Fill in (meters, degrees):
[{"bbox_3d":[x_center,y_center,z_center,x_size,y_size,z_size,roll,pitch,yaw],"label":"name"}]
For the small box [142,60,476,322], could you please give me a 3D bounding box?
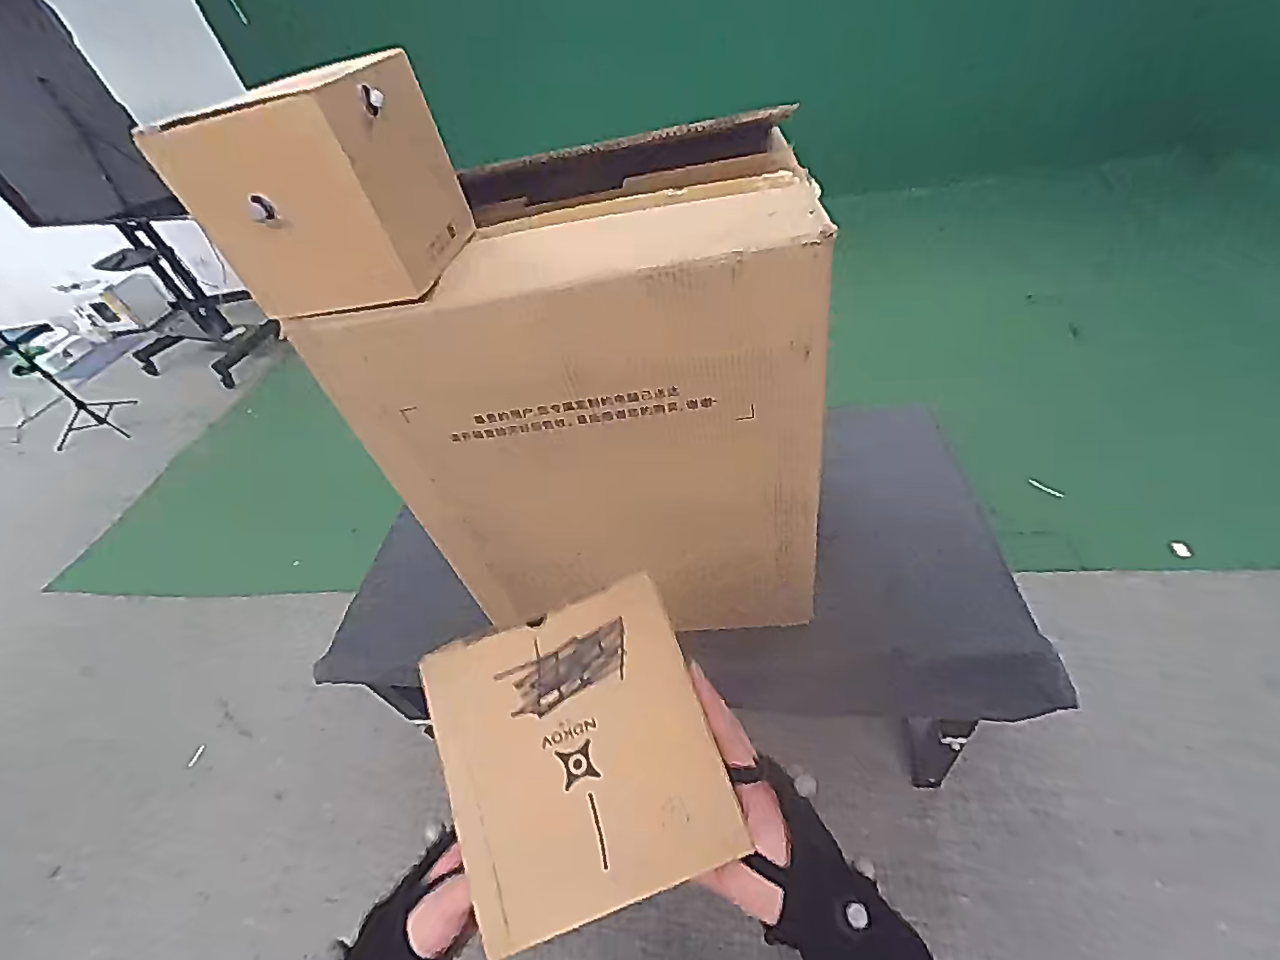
[{"bbox_3d":[-0.293,-0.270,0.524,0.179,0.176,0.168,-4,46,14],"label":"small box"}]
